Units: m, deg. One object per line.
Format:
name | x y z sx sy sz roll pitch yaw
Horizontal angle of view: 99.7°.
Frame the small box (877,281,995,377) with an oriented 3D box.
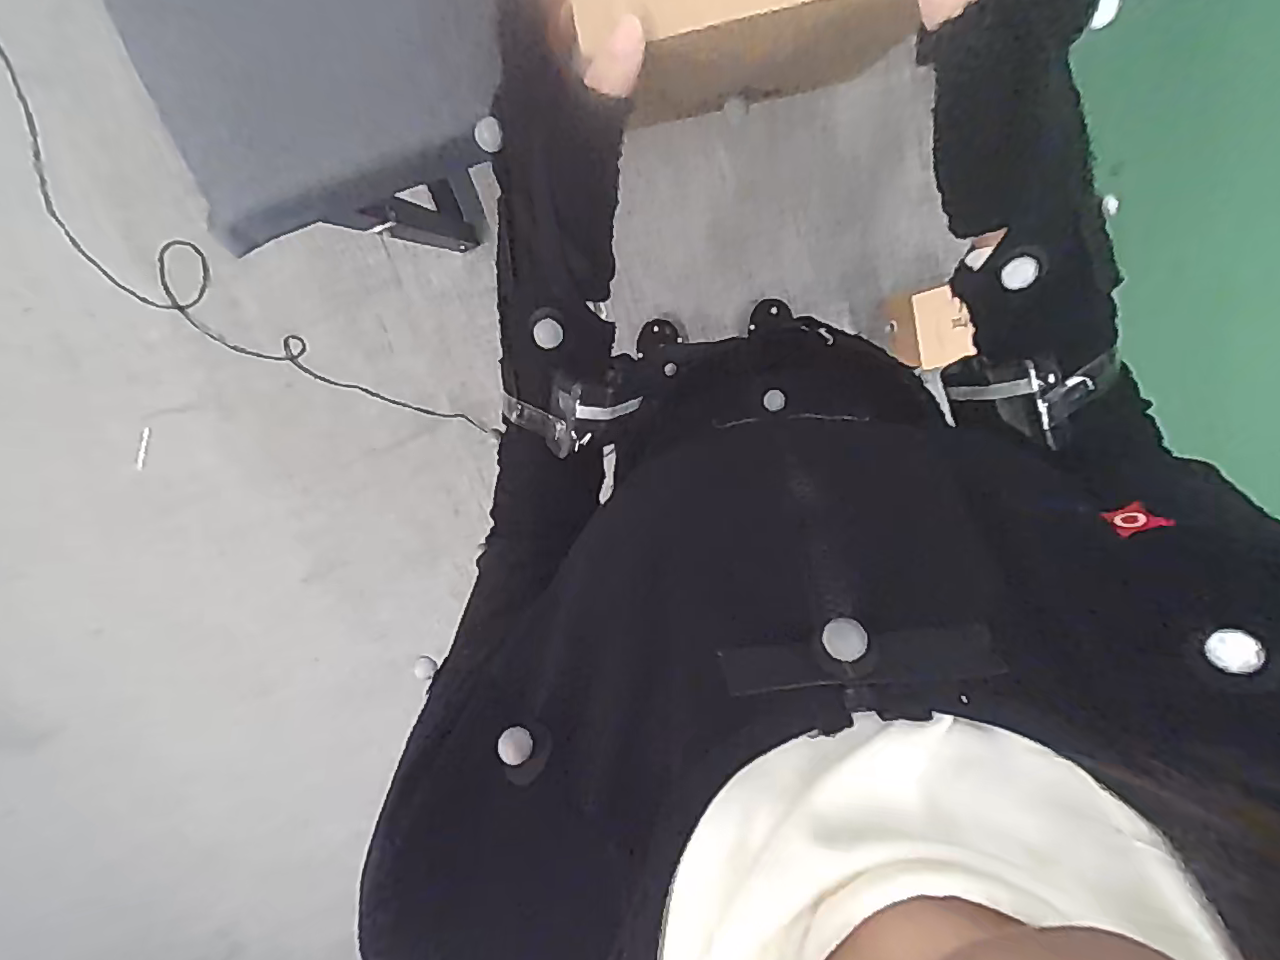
small box | 0.669 -0.345 1.234 0.179 0.176 0.168 -15 105 9
